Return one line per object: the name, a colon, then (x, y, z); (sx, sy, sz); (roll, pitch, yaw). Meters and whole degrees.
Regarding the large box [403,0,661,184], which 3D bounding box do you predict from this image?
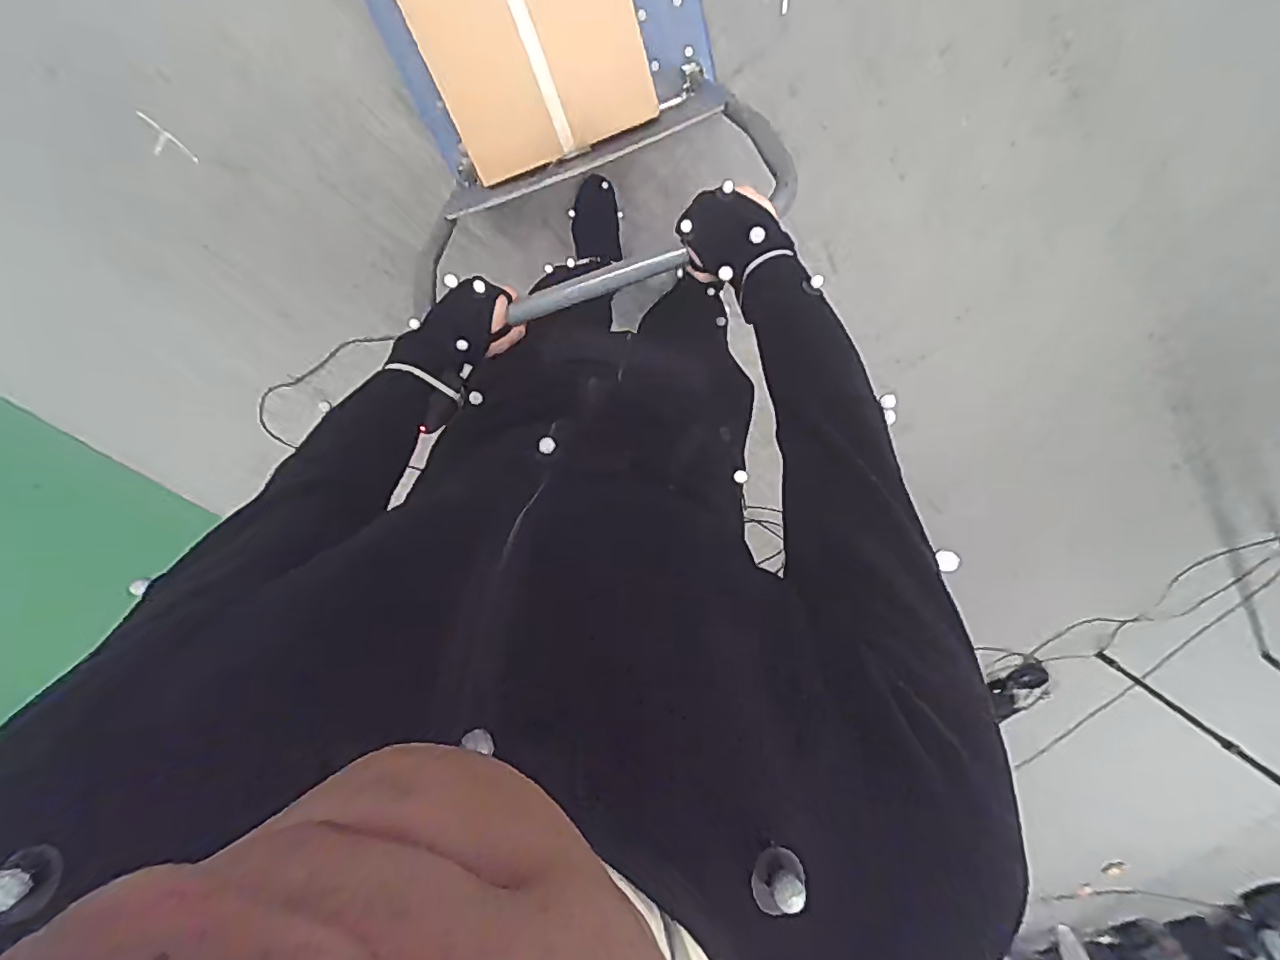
large box: (-0.180, -0.780, 0.889); (0.320, 0.320, 0.408); (-17, 128, 9)
